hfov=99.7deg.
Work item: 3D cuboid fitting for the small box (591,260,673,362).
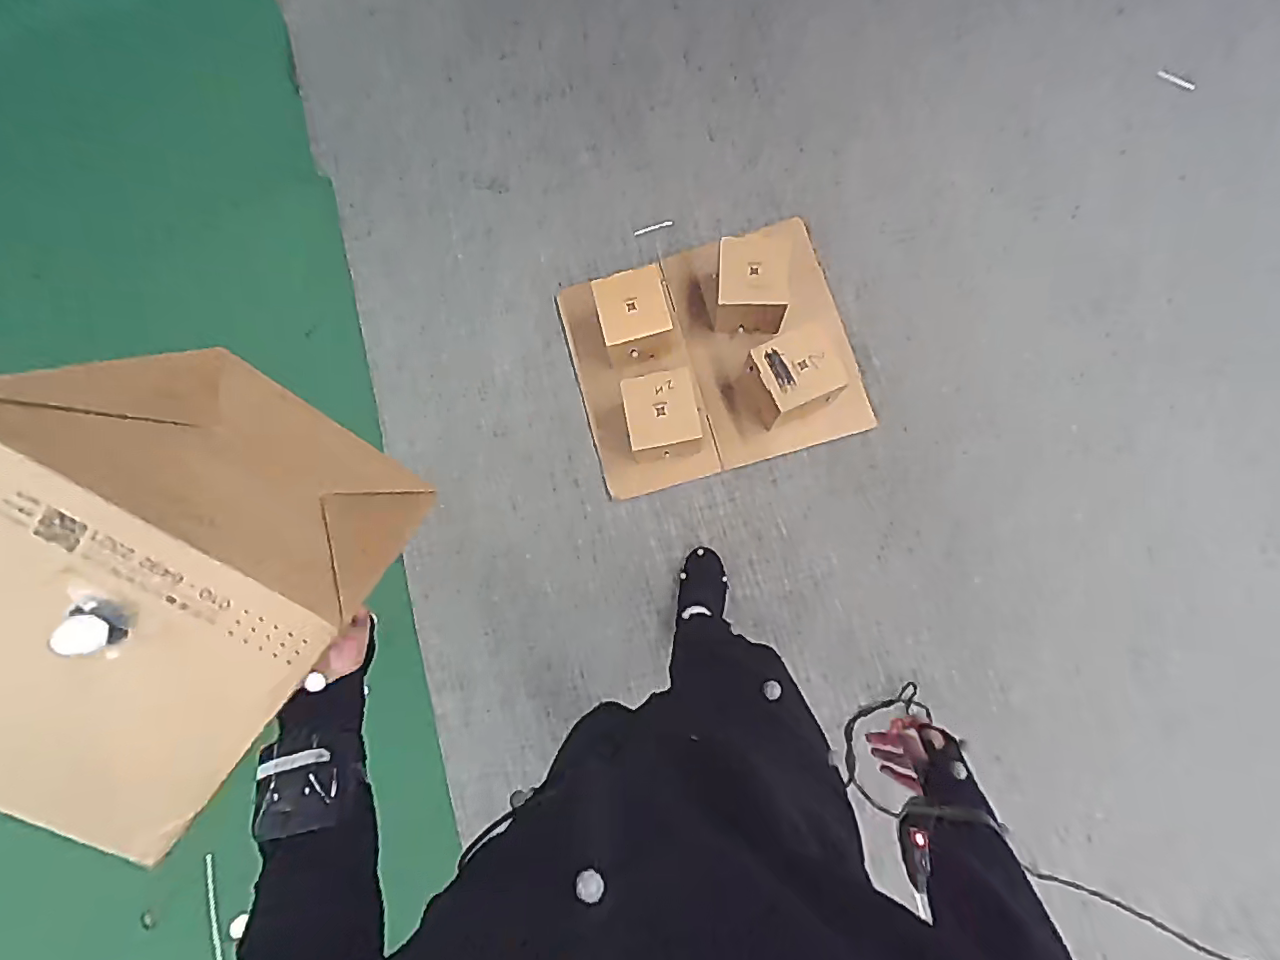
[{"bbox_3d":[-0.014,-0.414,1.362,0.168,0.176,0.179,-15,80,3],"label":"small box"}]

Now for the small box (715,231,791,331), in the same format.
[{"bbox_3d":[0.274,-0.489,1.342,0.168,0.176,0.179,3,81,6],"label":"small box"}]

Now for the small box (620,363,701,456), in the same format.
[{"bbox_3d":[0.054,-0.162,1.316,0.168,0.176,0.179,-10,80,3],"label":"small box"}]
